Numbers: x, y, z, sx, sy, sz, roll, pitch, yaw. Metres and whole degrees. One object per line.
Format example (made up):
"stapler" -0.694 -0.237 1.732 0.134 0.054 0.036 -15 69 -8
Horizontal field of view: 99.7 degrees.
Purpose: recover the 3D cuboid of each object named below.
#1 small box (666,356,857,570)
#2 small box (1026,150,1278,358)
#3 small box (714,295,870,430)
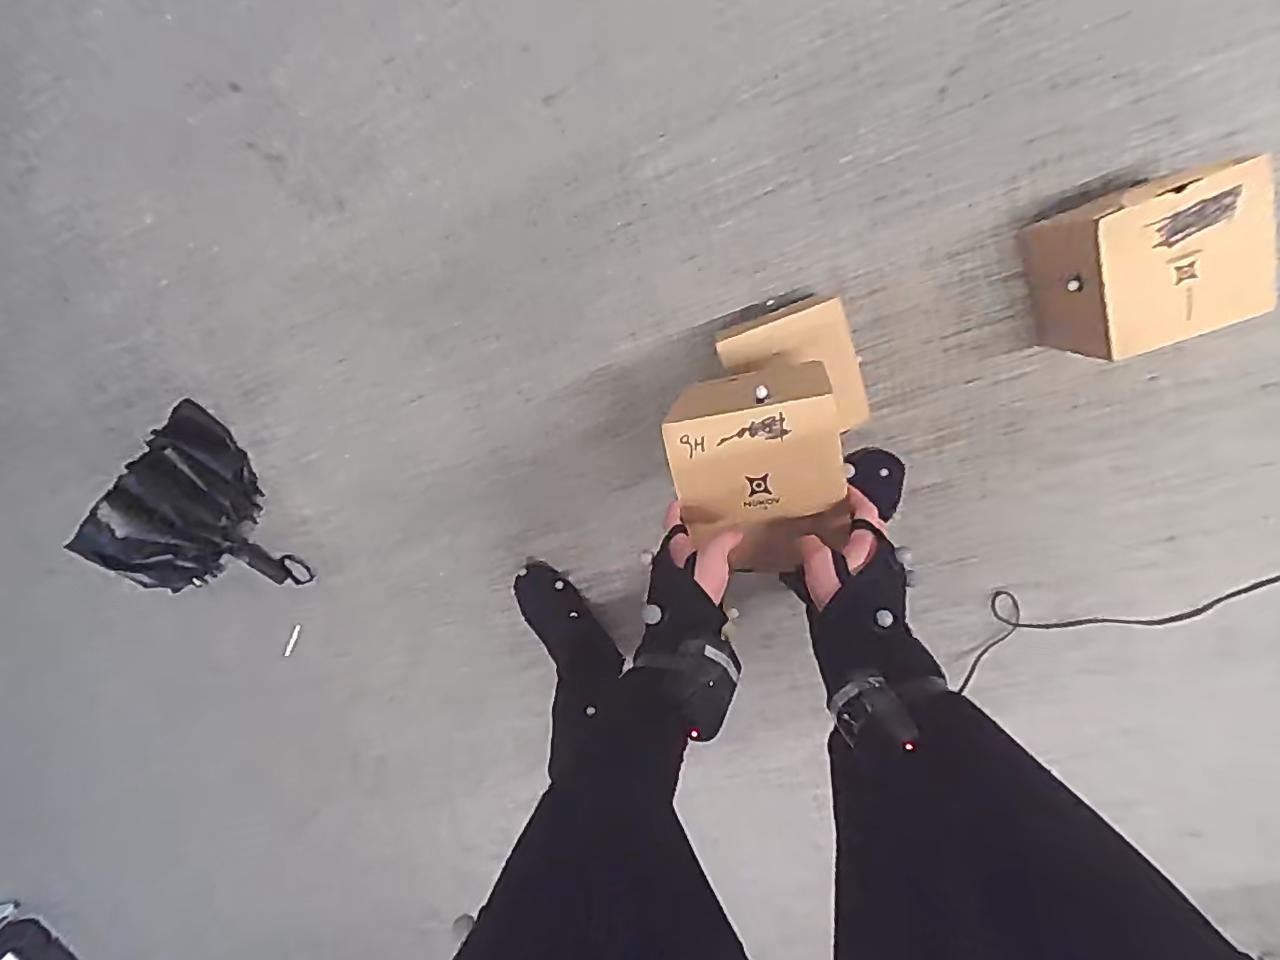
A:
"small box" 0.140 -0.023 0.601 0.168 0.176 0.179 -8 111 18
"small box" 0.624 -0.273 0.681 0.168 0.176 0.179 -19 107 15
"small box" 0.213 -0.157 0.789 0.168 0.176 0.179 -19 106 13
